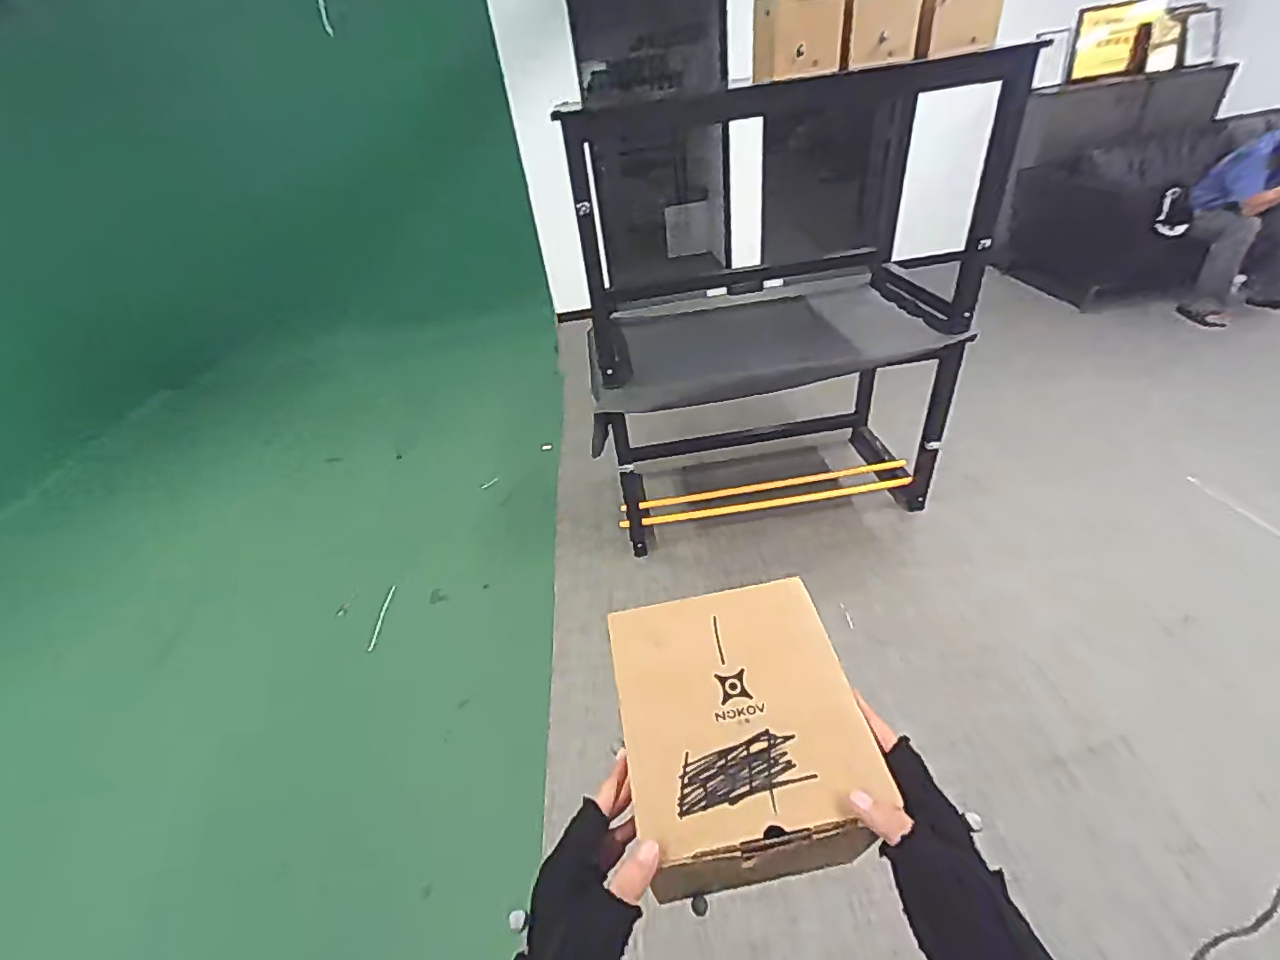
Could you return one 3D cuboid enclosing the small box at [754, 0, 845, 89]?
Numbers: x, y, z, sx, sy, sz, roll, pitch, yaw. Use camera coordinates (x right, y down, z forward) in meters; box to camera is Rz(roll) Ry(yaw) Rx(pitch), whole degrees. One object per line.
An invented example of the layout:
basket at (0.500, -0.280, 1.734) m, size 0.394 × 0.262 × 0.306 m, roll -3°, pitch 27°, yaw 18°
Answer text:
small box at (0.385, -1.079, 1.339) m, size 0.168 × 0.176 × 0.179 m, roll -9°, pitch 36°, yaw -2°
